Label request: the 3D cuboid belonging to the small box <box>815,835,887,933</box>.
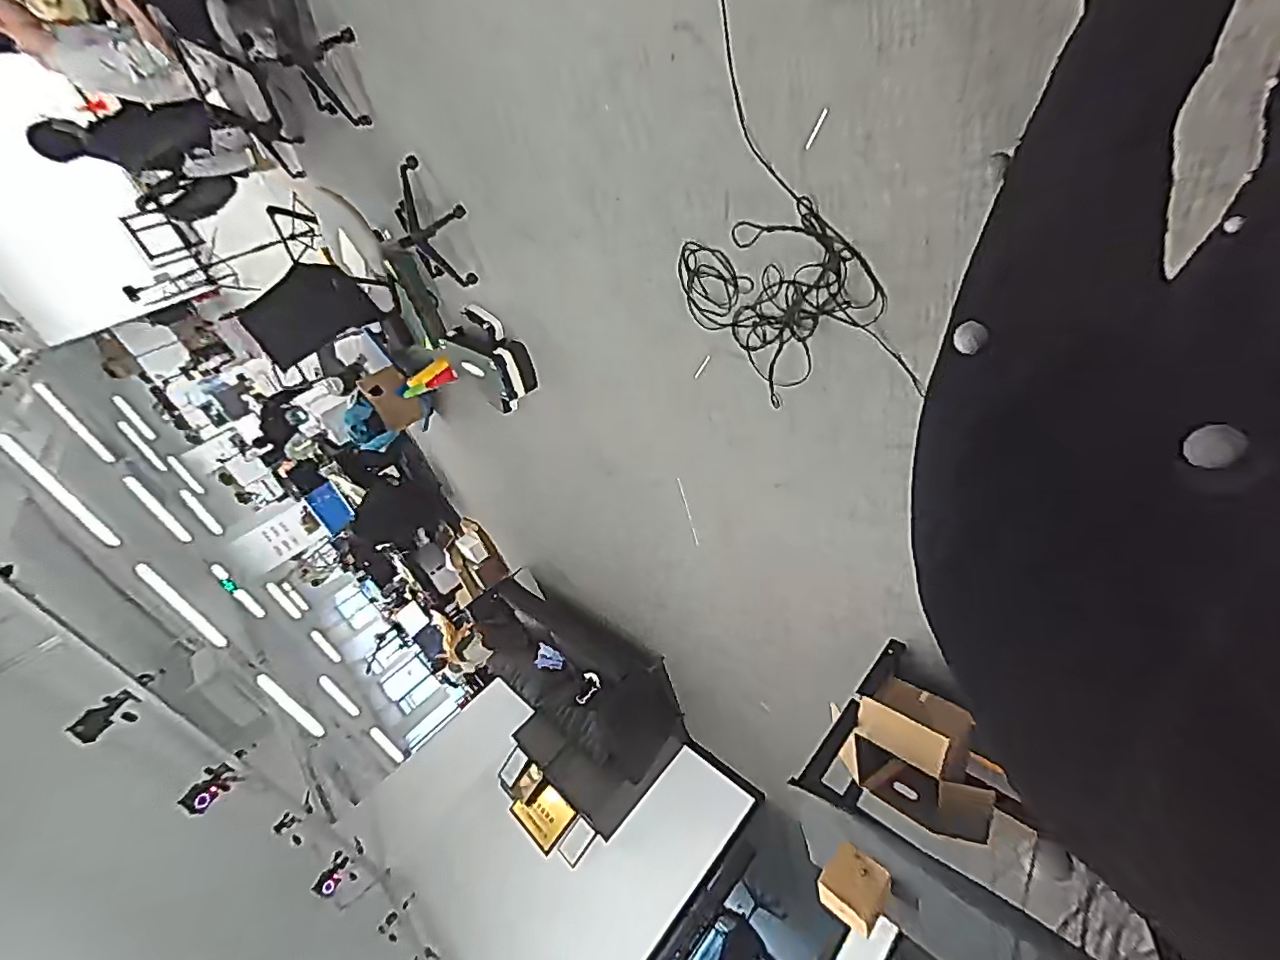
[{"bbox_3d":[0.699,1.326,1.782,0.168,0.176,0.179,20,138,43],"label":"small box"}]
